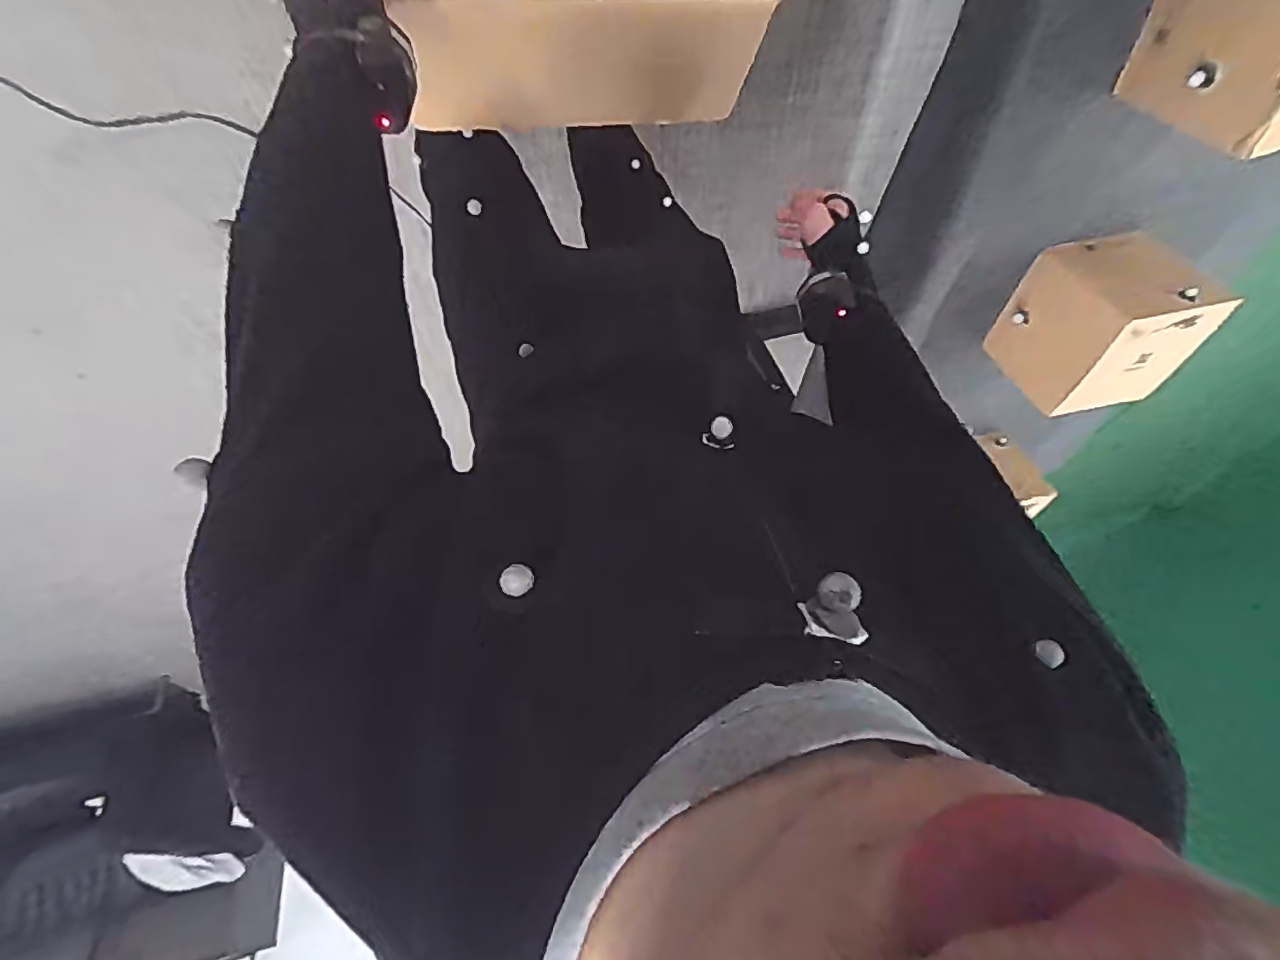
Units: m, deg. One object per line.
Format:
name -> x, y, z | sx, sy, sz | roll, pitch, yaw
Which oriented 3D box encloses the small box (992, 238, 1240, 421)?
small box -> 0.654, -0.215, 0.777 | 0.168, 0.176, 0.179 | -12, 145, -7
